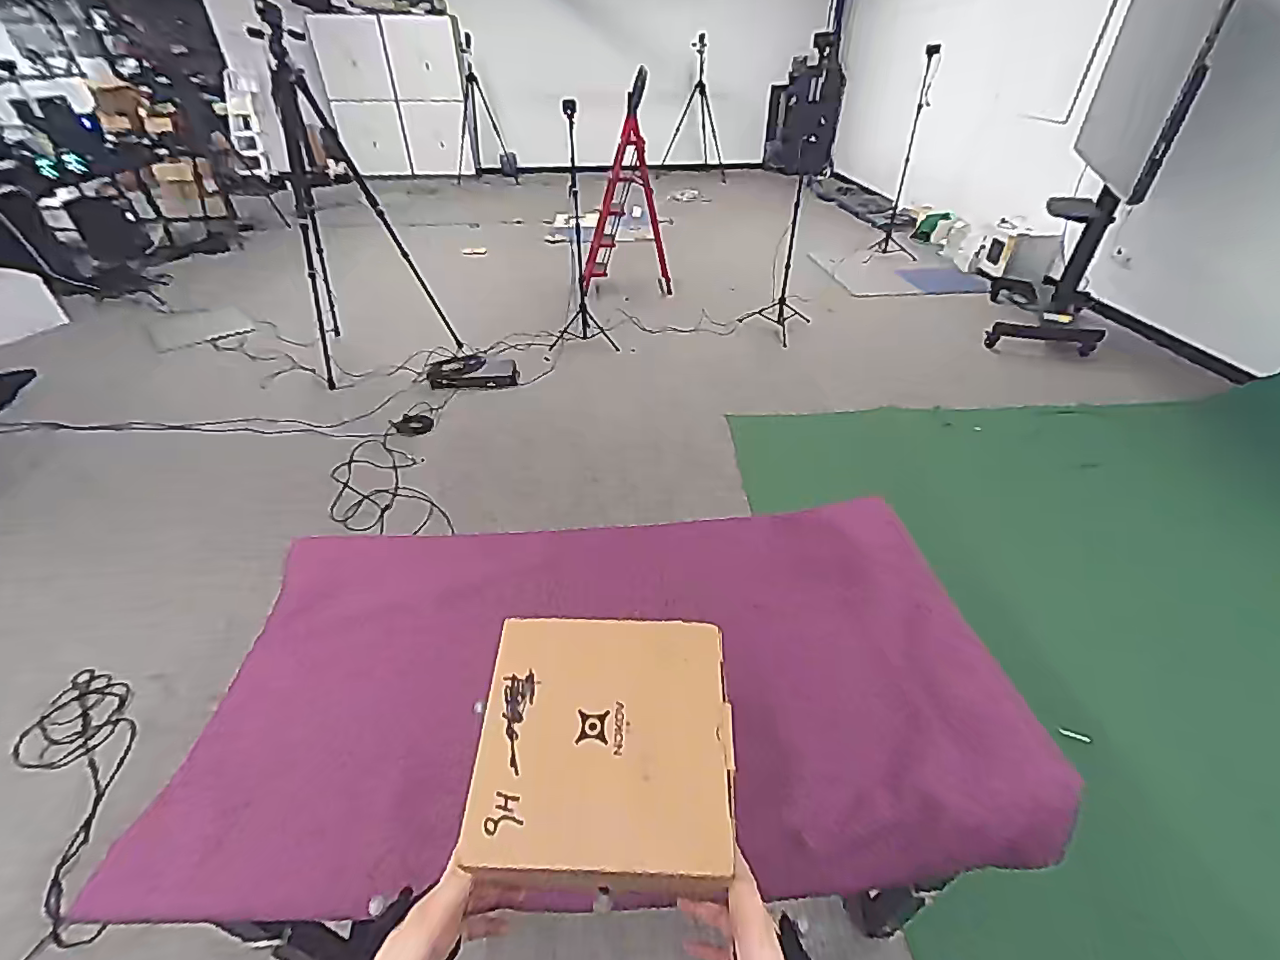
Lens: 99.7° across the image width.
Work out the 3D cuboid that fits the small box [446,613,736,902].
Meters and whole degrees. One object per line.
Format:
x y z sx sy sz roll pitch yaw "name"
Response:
-0.028 0.224 0.432 0.179 0.176 0.168 3 48 1 "small box"
